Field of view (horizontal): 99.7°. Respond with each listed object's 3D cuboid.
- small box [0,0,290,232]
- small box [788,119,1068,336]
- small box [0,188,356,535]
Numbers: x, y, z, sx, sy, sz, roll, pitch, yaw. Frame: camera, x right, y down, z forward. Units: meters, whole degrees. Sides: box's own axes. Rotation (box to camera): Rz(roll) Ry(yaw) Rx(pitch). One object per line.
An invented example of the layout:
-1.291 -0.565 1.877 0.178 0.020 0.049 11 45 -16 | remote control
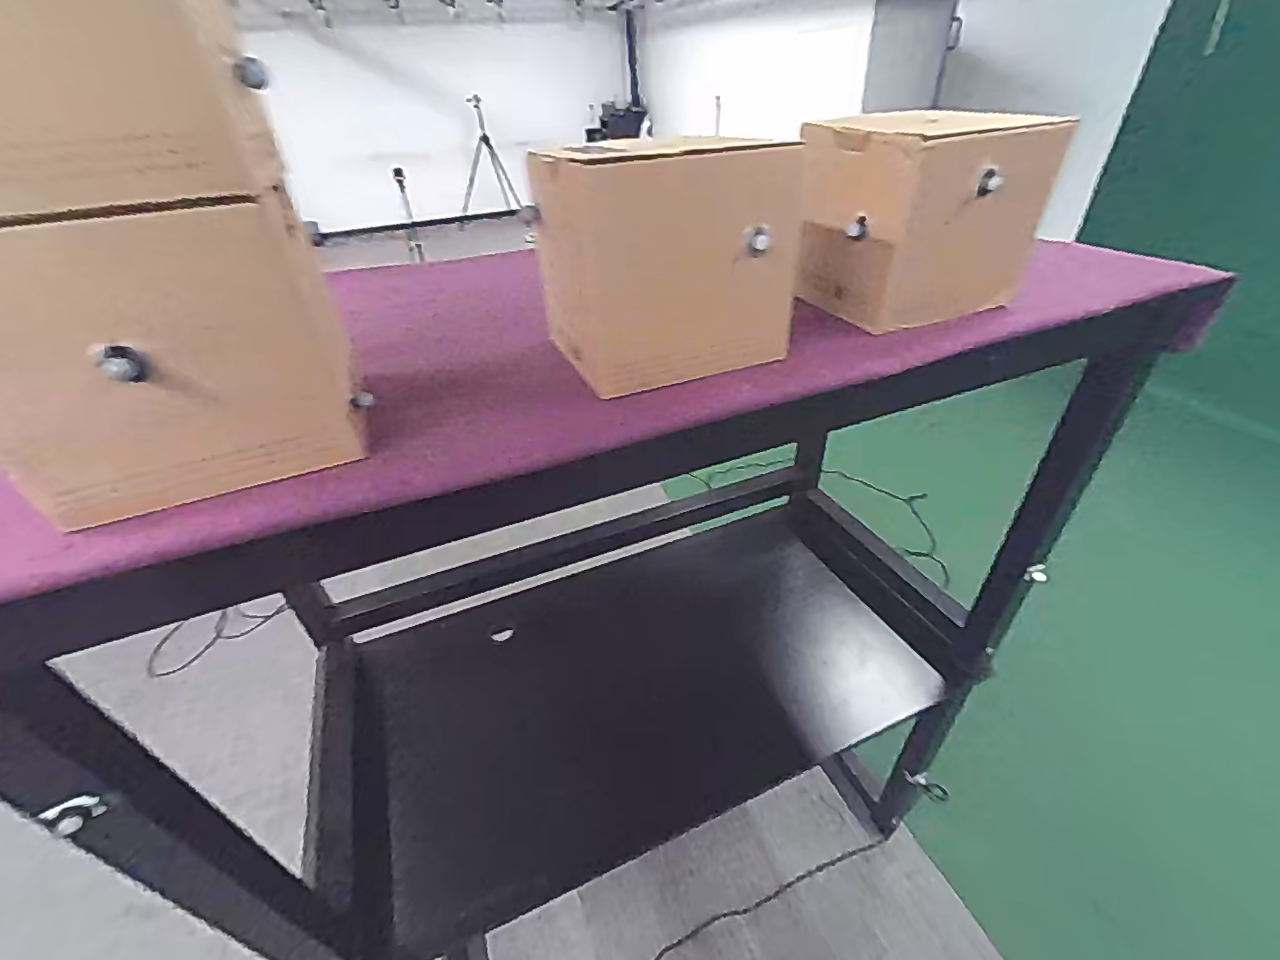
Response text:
-0.316 -0.227 0.275 0.179 0.176 0.168 -16 37 -17 | small box
0.268 -0.260 0.552 0.179 0.176 0.168 -15 39 -15 | small box
-0.308 -0.092 0.367 0.179 0.176 0.168 -18 37 -18 | small box
